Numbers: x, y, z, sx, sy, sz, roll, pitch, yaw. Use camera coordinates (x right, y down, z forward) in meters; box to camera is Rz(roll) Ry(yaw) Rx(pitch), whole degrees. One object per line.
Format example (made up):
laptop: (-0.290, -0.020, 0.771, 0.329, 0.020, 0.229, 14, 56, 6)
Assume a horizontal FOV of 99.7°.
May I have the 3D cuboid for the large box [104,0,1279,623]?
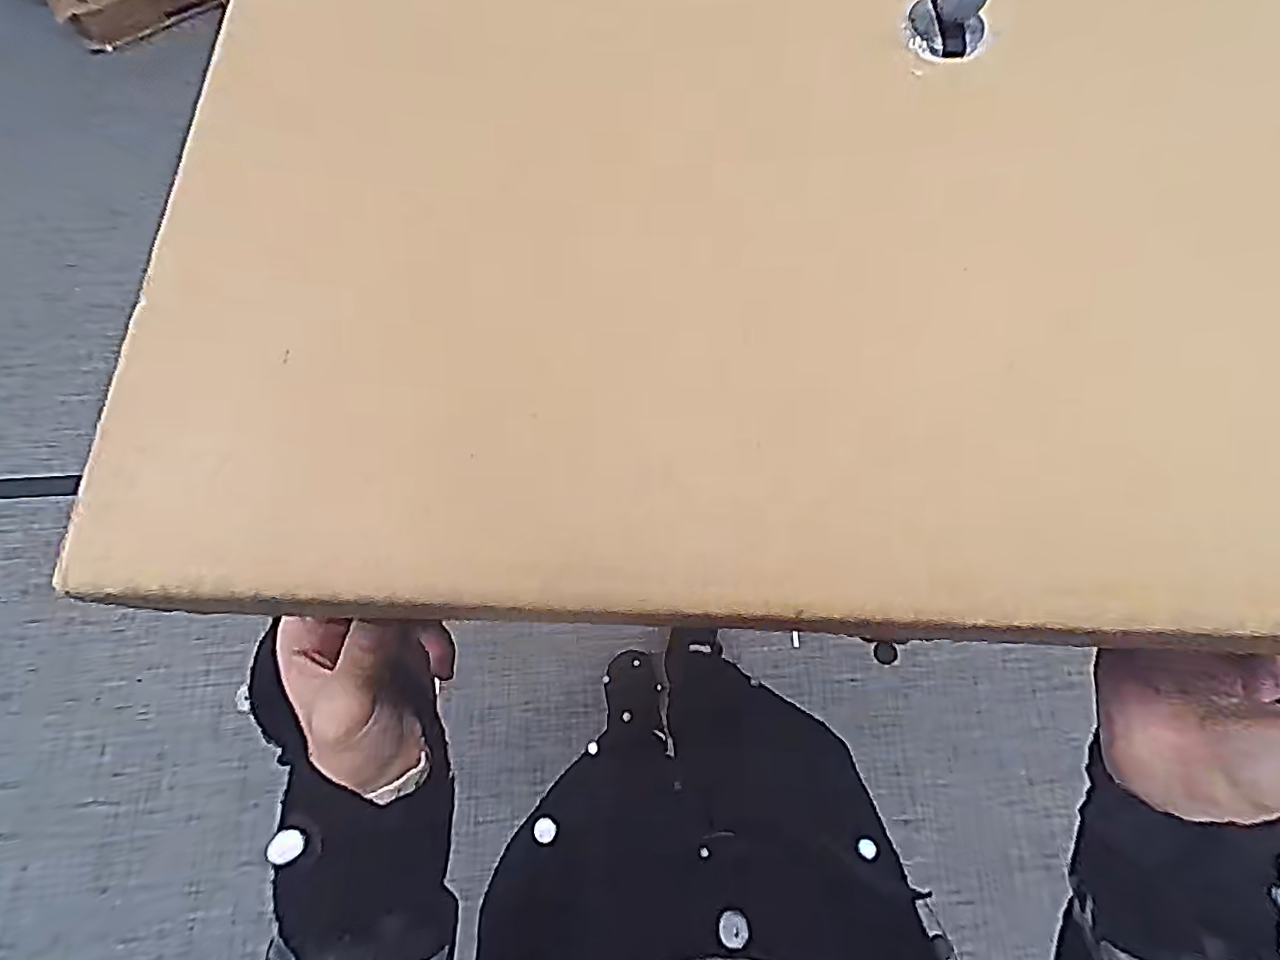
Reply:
large box: (0.076, -0.091, 0.300, 0.408, 0.320, 0.320, 2, 77, -1)
